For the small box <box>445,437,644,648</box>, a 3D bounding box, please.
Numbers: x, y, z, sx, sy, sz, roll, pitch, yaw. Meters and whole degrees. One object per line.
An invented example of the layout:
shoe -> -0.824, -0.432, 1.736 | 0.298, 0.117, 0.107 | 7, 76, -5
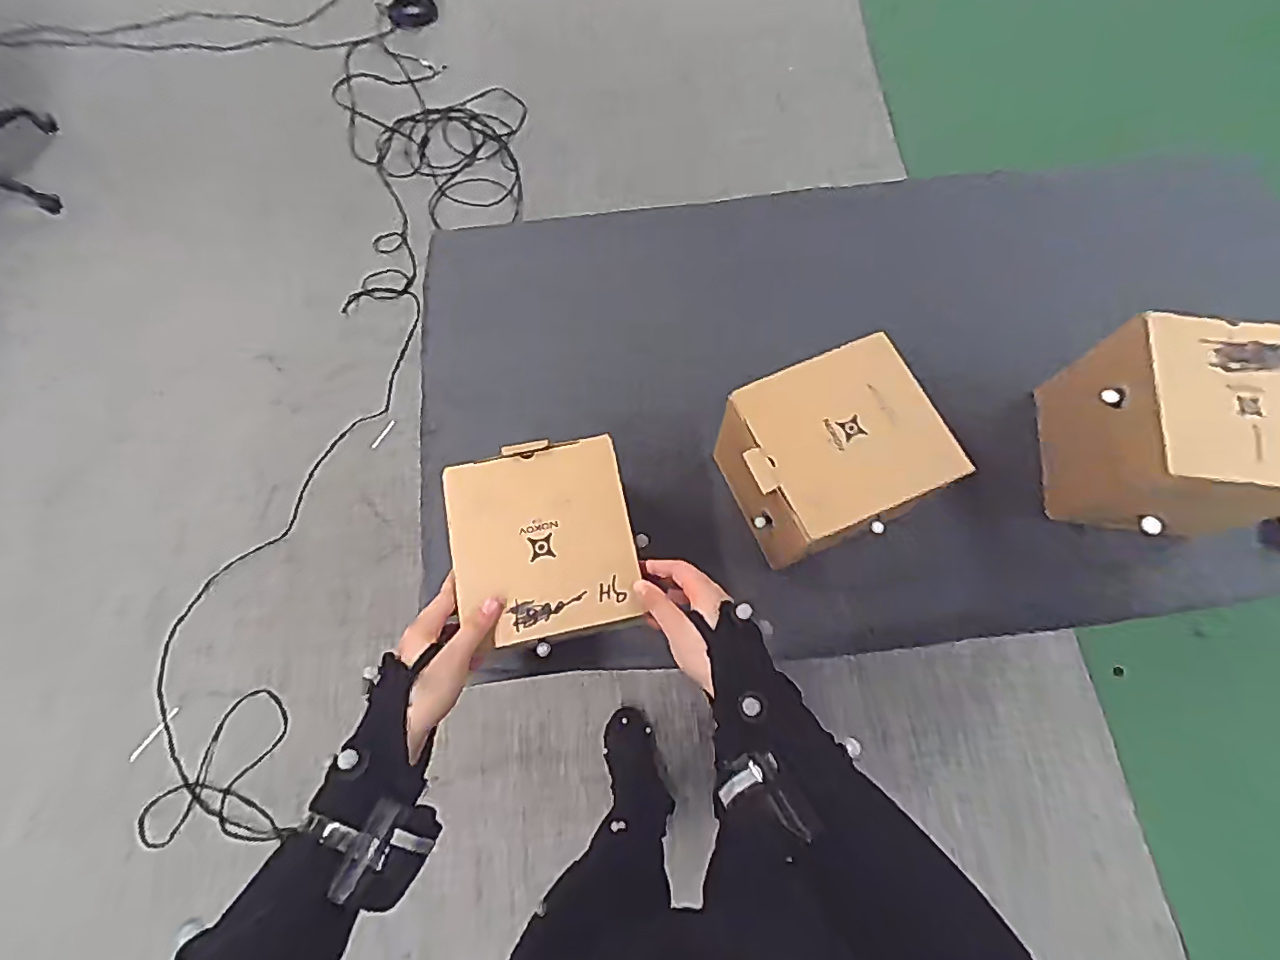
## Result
small box -> -0.093, 0.077, 0.580 | 0.168, 0.176, 0.179 | -12, 73, -2

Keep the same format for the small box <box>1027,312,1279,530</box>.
small box -> 0.563, -0.055, 0.595 | 0.168, 0.176, 0.179 | 7, 73, 5

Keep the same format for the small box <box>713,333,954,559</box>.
small box -> 0.192, -0.025, 0.604 | 0.179, 0.176, 0.168 | -23, 74, -6
